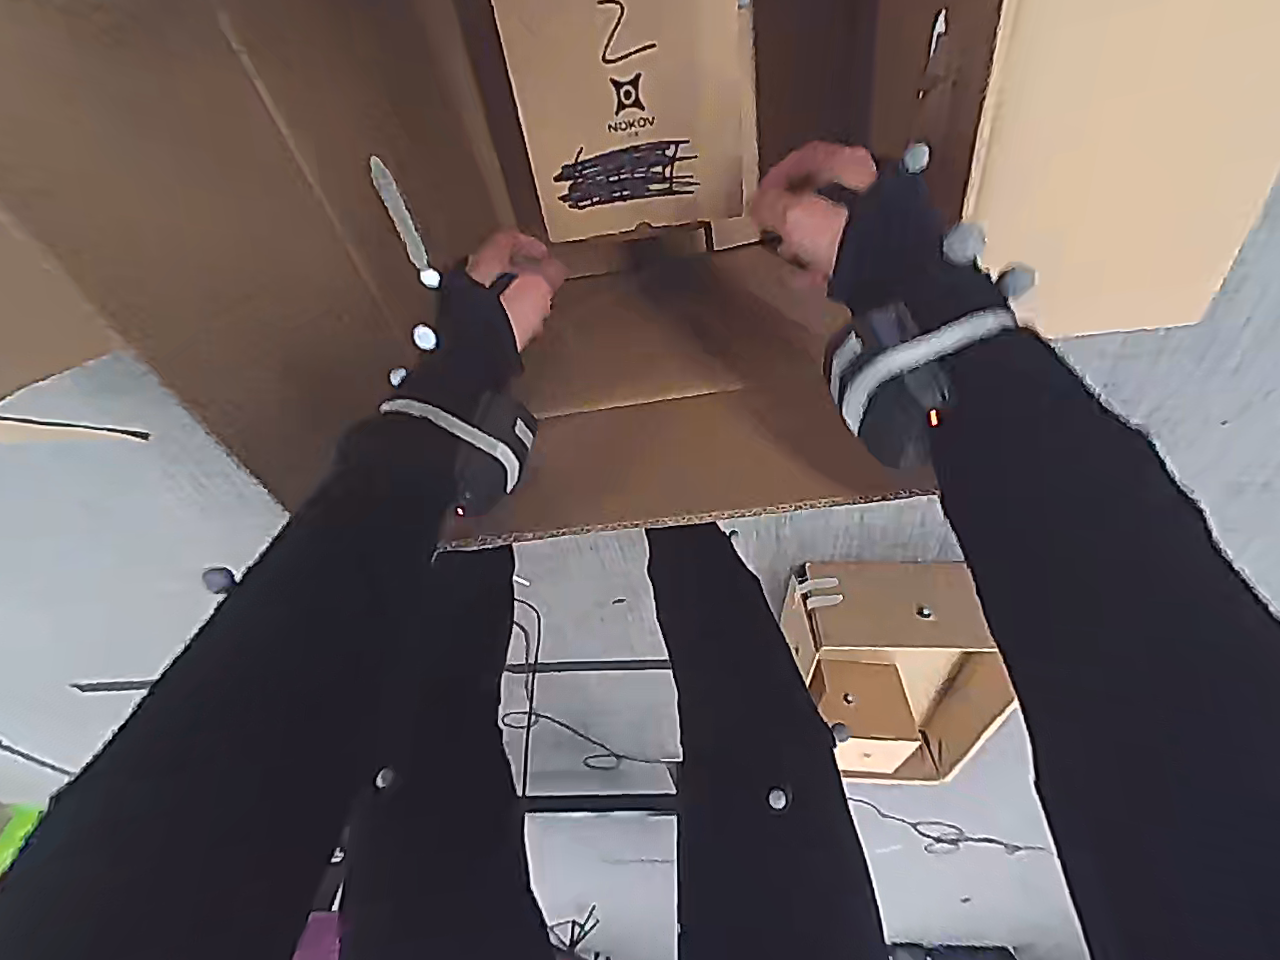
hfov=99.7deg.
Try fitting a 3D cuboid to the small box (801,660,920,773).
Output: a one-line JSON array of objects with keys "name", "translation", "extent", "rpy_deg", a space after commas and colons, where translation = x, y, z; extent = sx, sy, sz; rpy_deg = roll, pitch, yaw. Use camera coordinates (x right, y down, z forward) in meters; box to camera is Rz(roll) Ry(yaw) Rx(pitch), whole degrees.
[{"name": "small box", "translation": [0.463, 0.511, 1.174], "extent": [0.179, 0.176, 0.168], "rpy_deg": [5, 133, -1]}]
